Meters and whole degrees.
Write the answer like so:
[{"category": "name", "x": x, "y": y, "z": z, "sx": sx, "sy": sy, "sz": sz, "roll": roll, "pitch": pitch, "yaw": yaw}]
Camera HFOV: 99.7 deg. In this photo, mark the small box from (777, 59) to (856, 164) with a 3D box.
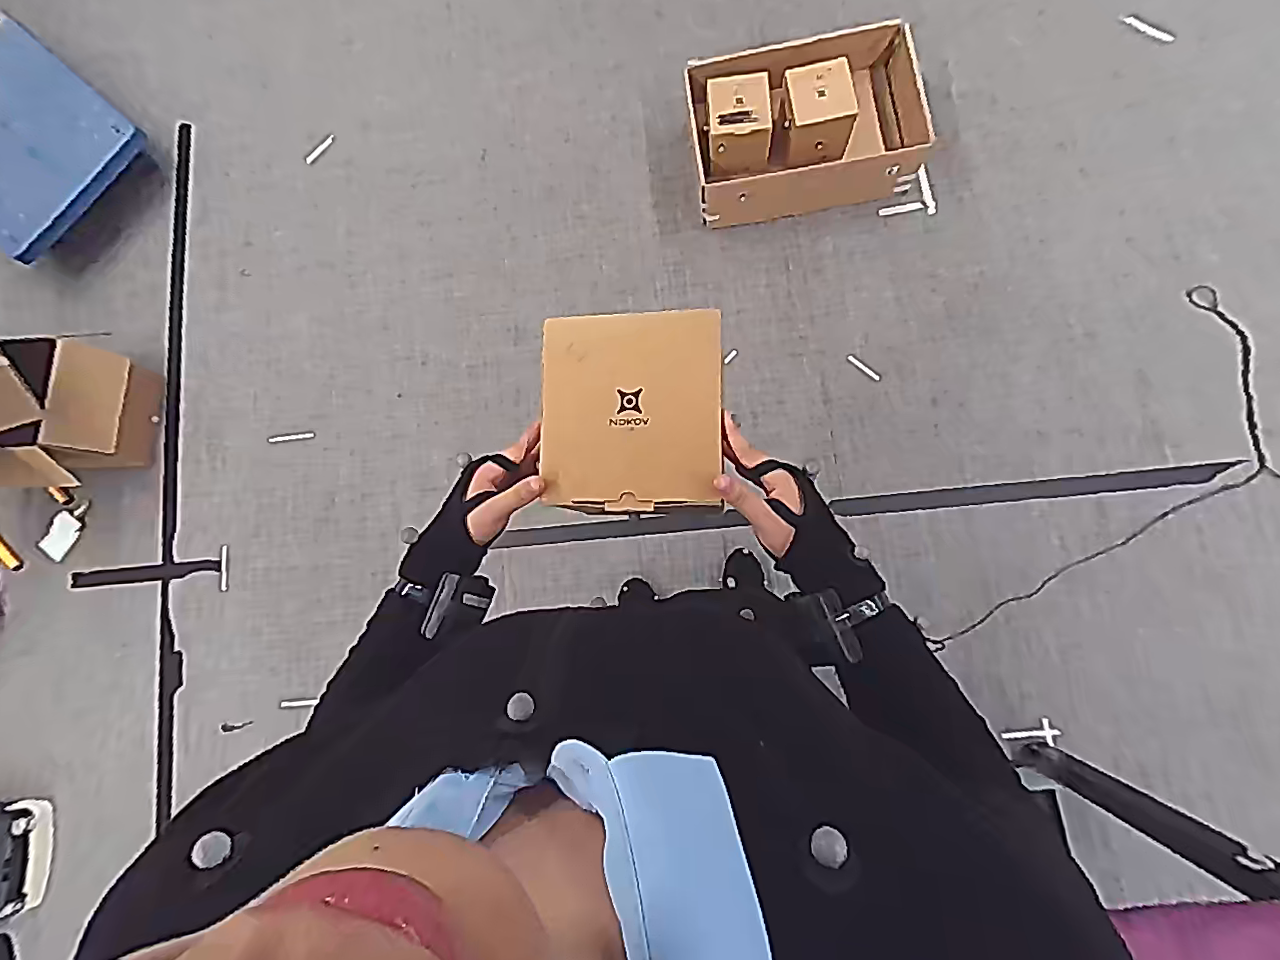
[{"category": "small box", "x": 0.491, "y": -1.024, "z": 1.523, "sx": 0.168, "sy": 0.176, "sz": 0.179, "roll": -9, "pitch": 81, "yaw": 5}]
